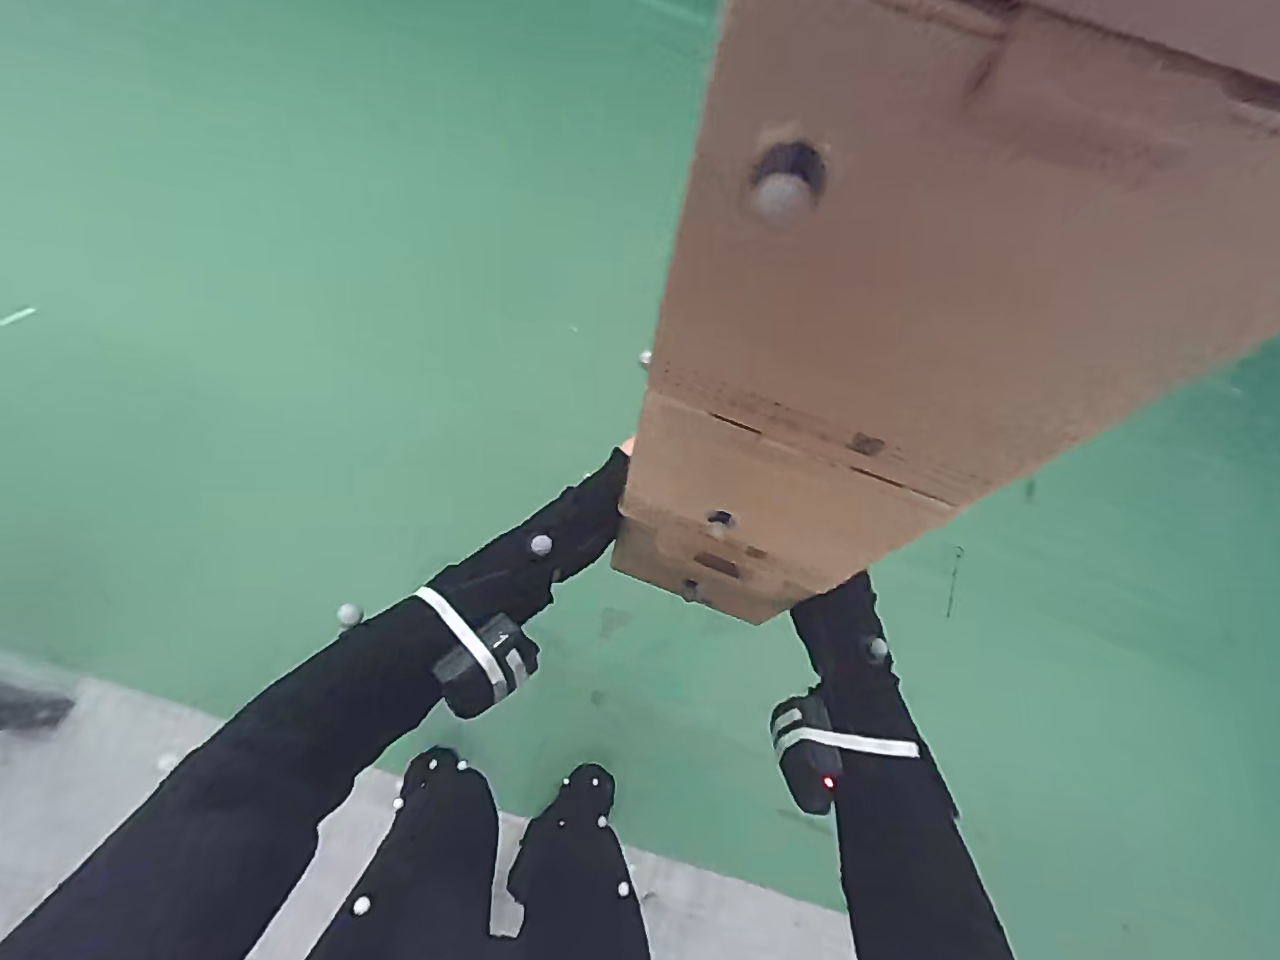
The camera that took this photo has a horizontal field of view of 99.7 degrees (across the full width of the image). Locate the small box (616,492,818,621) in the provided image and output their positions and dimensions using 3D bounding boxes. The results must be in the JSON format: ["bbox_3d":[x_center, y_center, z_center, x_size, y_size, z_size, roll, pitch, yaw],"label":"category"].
[{"bbox_3d":[0.082,0.017,0.531,0.168,0.176,0.179,22,65,3],"label":"small box"}]

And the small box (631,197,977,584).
[{"bbox_3d":[0.100,-0.050,0.383,0.168,0.176,0.179,21,65,3],"label":"small box"}]
